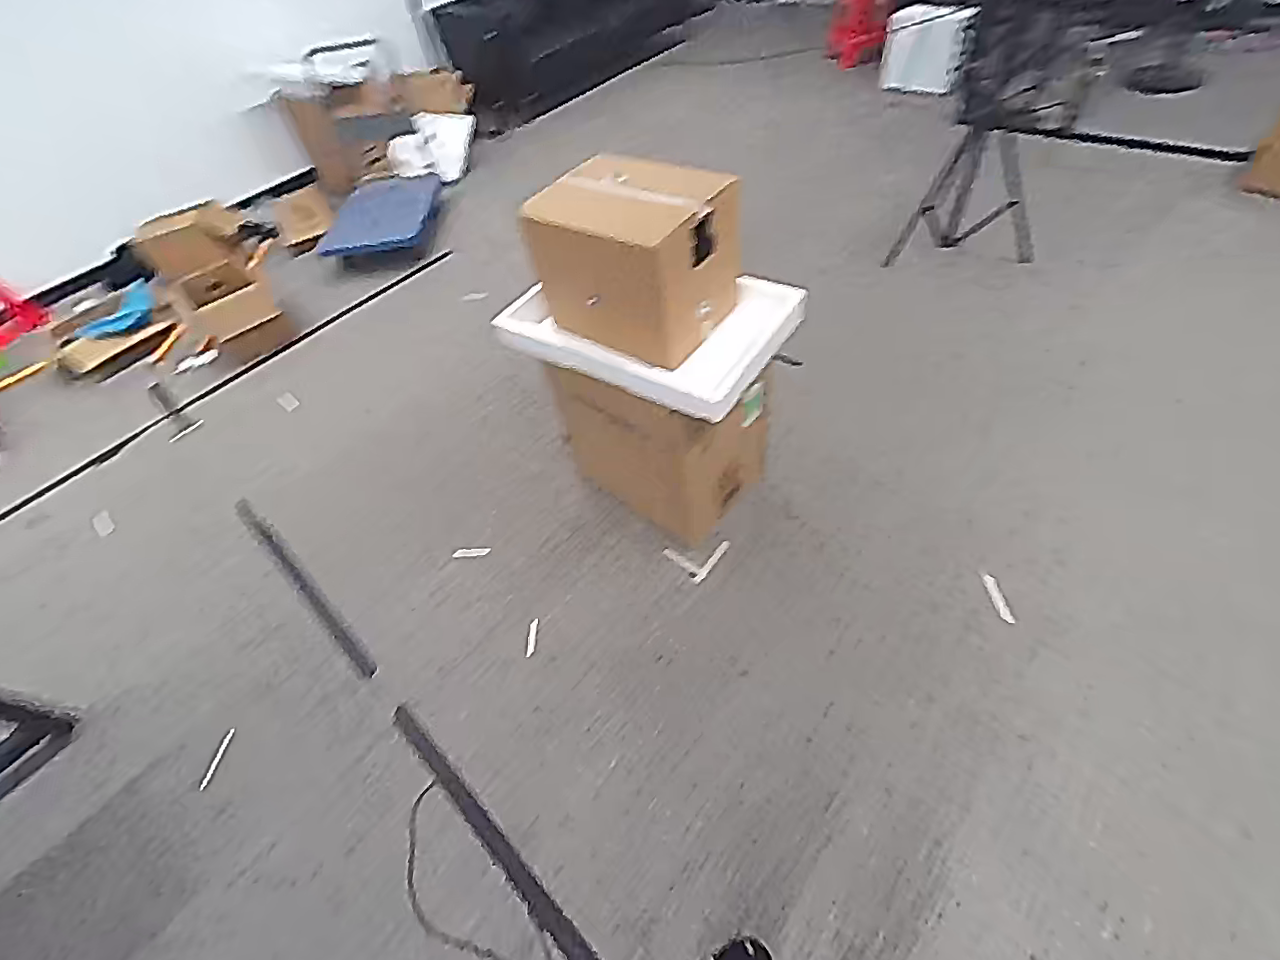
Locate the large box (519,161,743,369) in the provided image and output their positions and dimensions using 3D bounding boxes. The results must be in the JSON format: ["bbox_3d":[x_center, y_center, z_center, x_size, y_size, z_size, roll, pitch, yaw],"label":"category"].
[{"bbox_3d":[-0.002,-0.518,1.292,0.408,0.320,0.320,27,60,29],"label":"large box"}]
